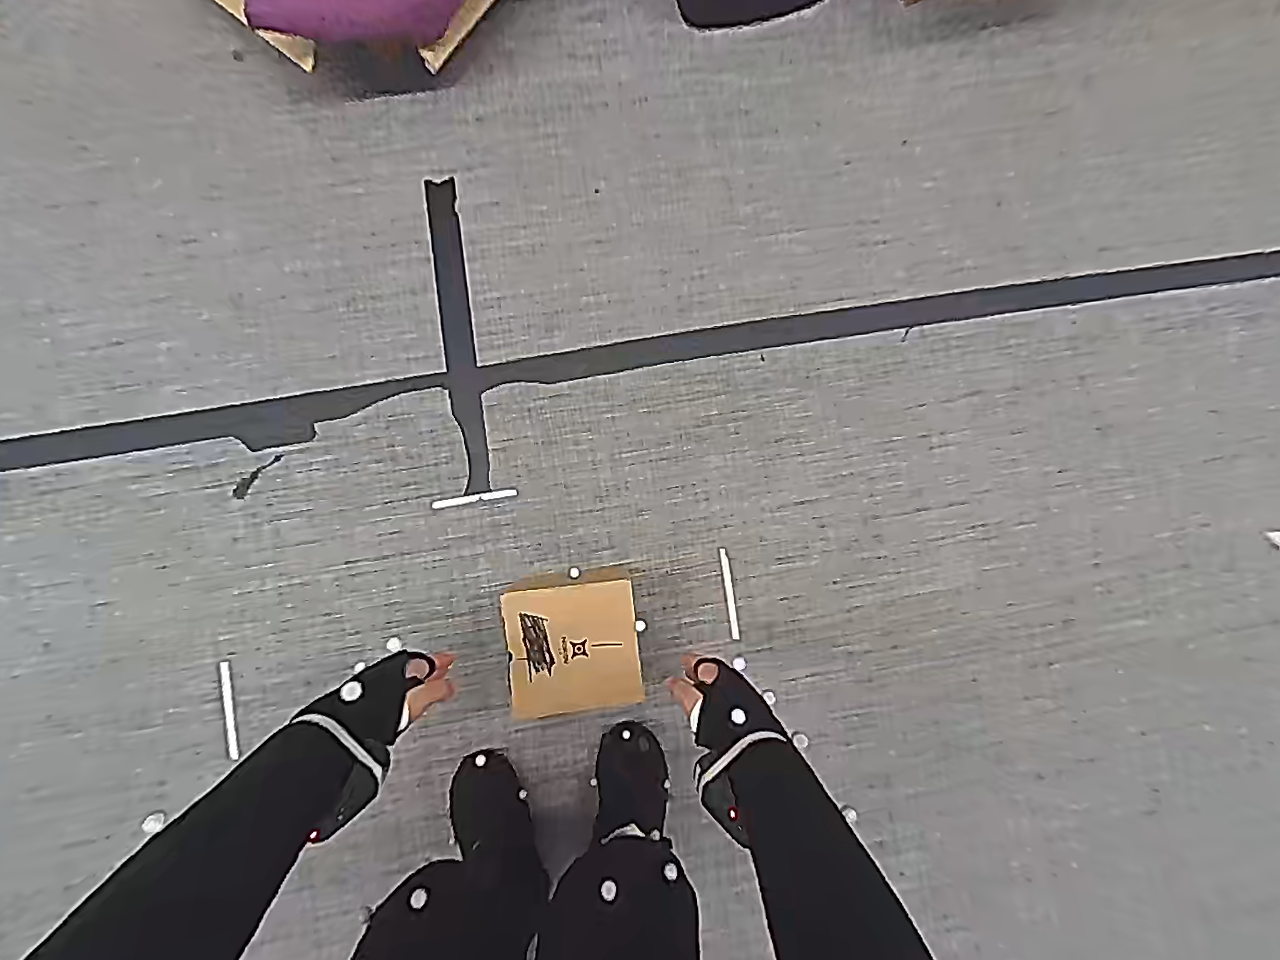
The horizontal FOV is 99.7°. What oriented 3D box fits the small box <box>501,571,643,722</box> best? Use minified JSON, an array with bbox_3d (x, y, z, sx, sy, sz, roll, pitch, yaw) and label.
[{"bbox_3d":[-0.094,0.231,0.789,0.179,0.176,0.168,-6,88,-5],"label":"small box"}]
